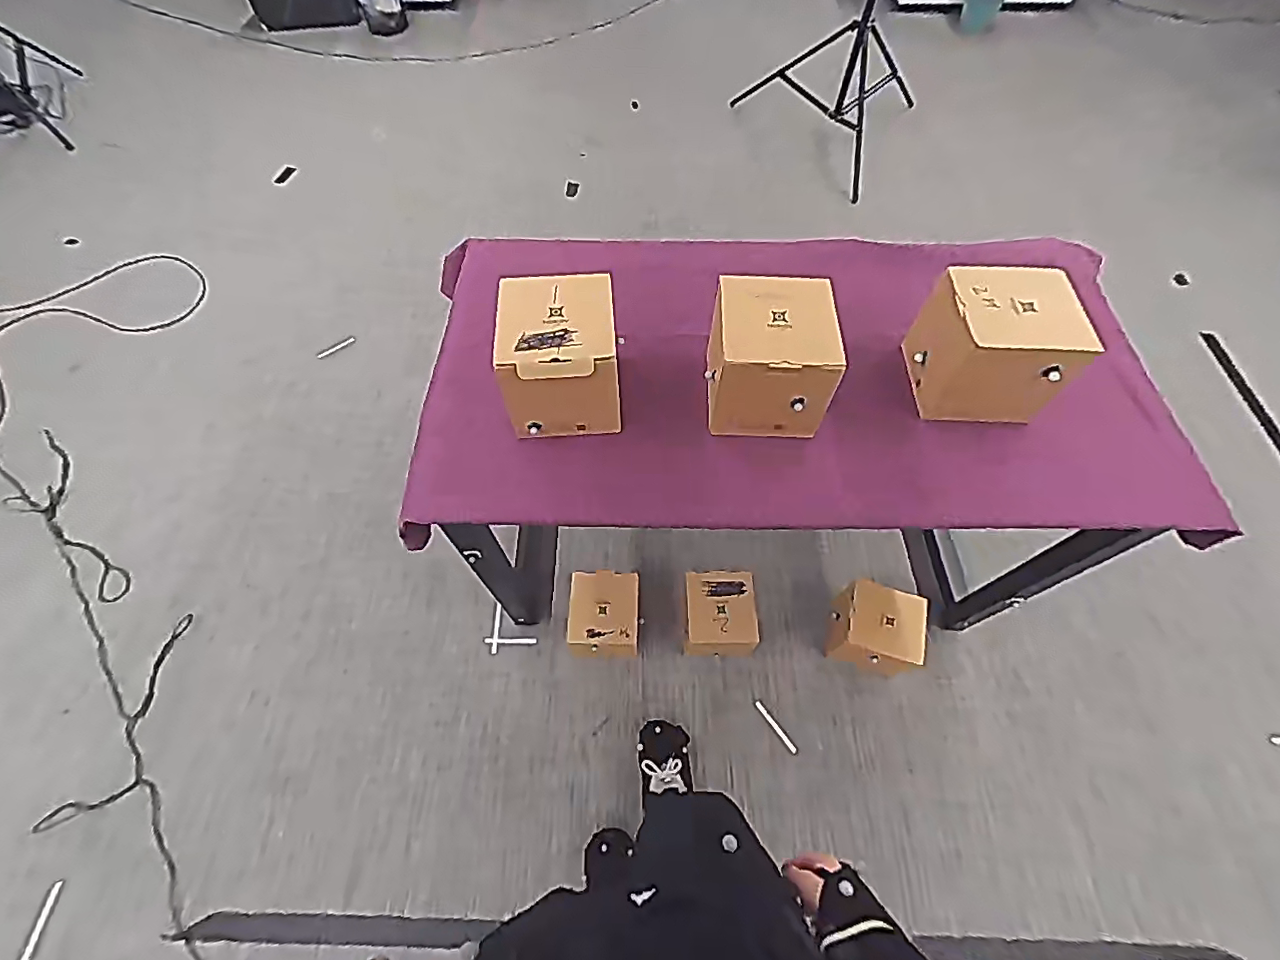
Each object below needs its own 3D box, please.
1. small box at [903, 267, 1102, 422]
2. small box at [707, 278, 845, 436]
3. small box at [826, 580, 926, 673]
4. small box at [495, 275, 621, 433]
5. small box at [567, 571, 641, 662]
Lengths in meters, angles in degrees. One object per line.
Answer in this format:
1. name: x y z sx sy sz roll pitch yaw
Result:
1. small box: 0.543 -0.204 0.840 0.179 0.176 0.168 2 60 2
2. small box: 0.195 -0.182 0.829 0.168 0.176 0.179 2 59 0
3. small box: 0.587 0.373 1.355 0.179 0.176 0.168 15 63 9
4. small box: -0.116 -0.184 0.826 0.168 0.176 0.179 -4 59 -3
5. small box: -0.086 0.347 1.367 0.168 0.176 0.179 2 59 1
